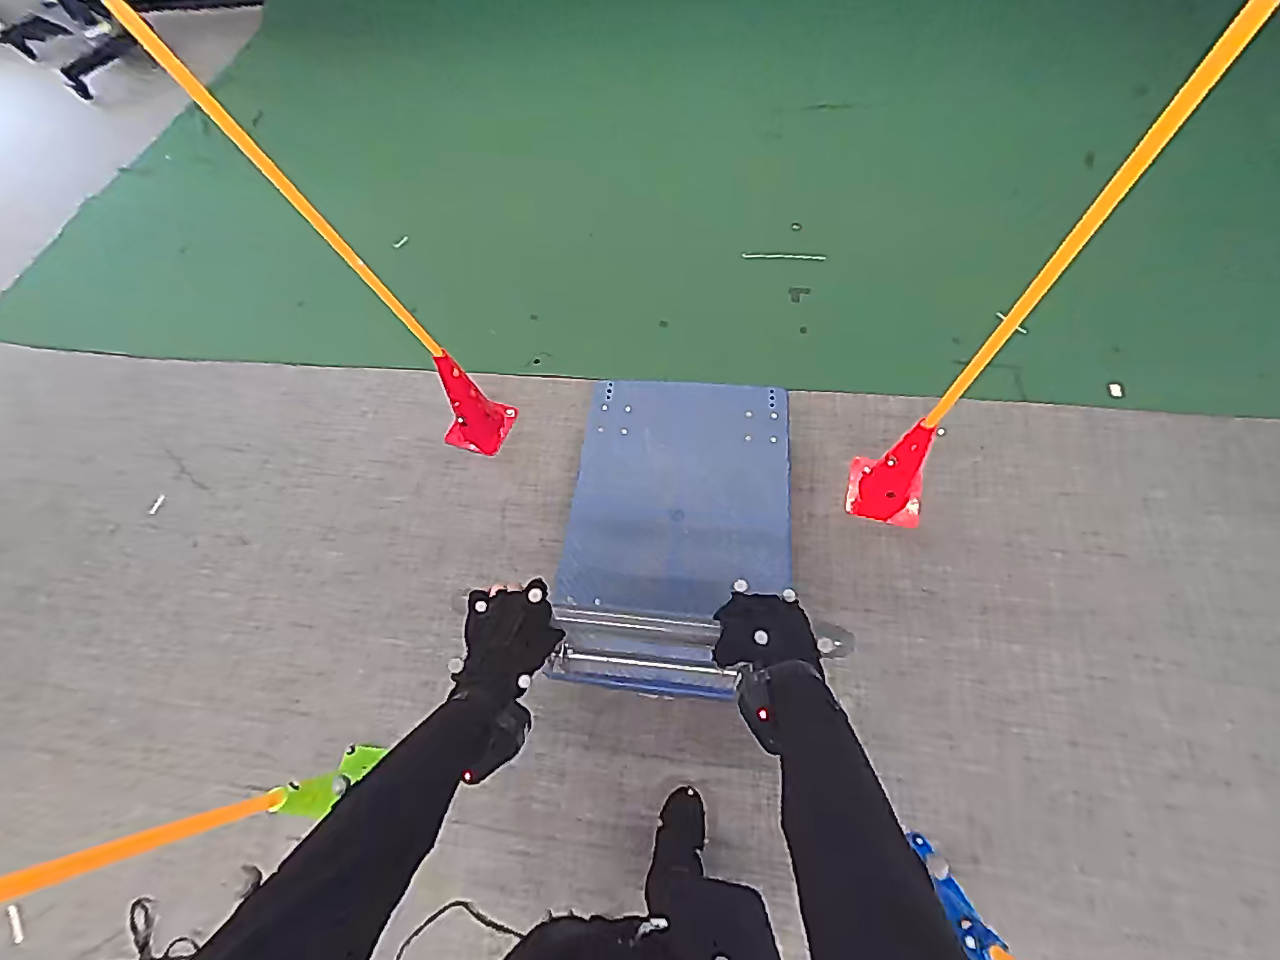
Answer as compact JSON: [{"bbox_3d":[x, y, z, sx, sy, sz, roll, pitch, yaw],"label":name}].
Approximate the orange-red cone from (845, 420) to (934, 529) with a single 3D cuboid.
[{"bbox_3d":[0.699,-0.042,1.439,0.198,0.360,0.199,14,64,13],"label":"orange-red cone"}]
